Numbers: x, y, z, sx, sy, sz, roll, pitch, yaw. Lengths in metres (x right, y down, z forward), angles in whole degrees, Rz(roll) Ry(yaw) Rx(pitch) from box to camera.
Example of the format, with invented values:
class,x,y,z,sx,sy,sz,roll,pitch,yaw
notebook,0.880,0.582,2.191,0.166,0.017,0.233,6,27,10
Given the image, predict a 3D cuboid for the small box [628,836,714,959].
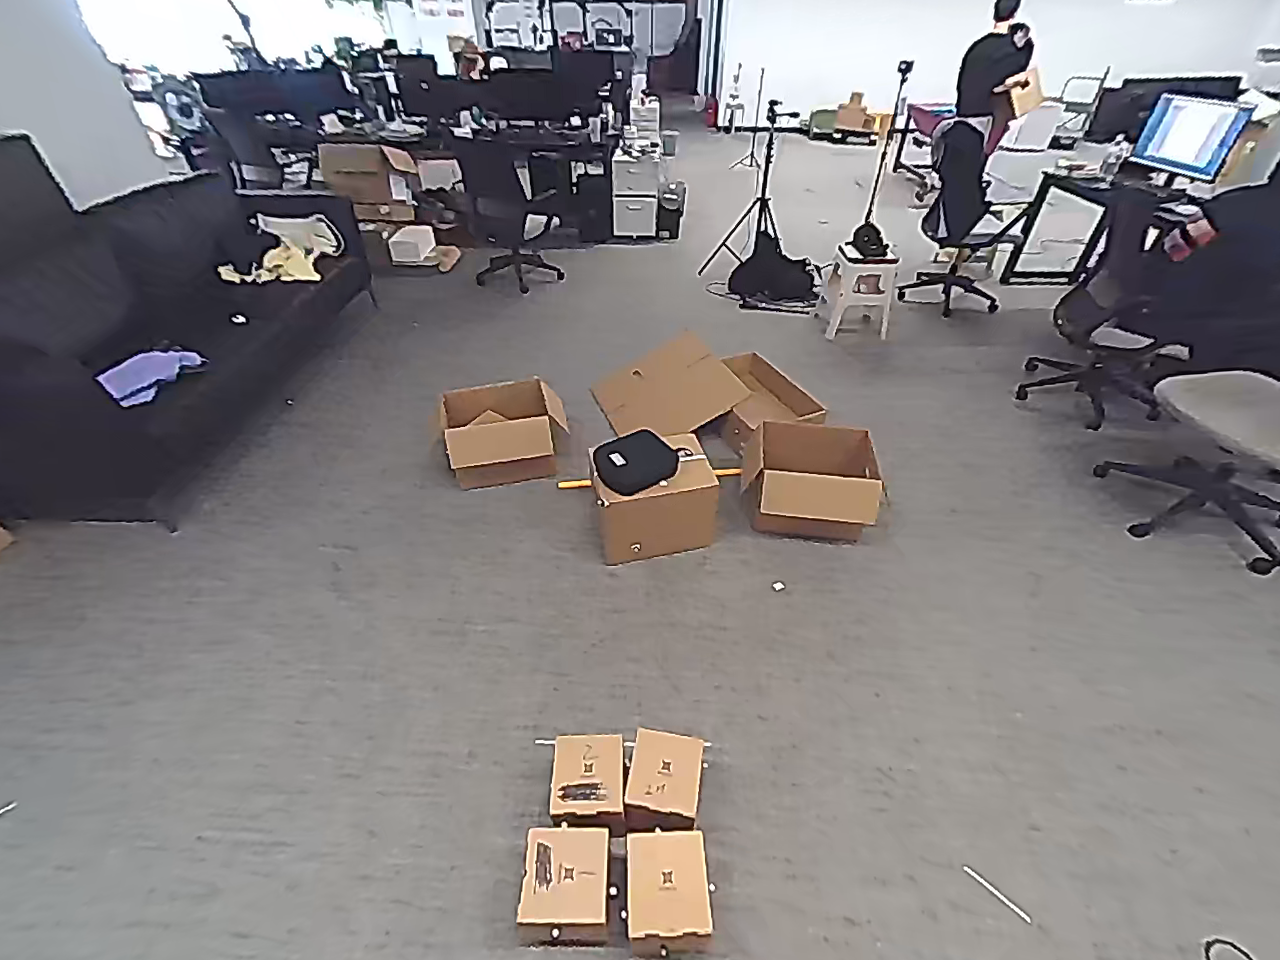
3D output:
class,x,y,z,sx,sy,sz,roll,pitch,yaw
small box,0.058,0.884,1.147,0.168,0.176,0.179,-2,41,-1
